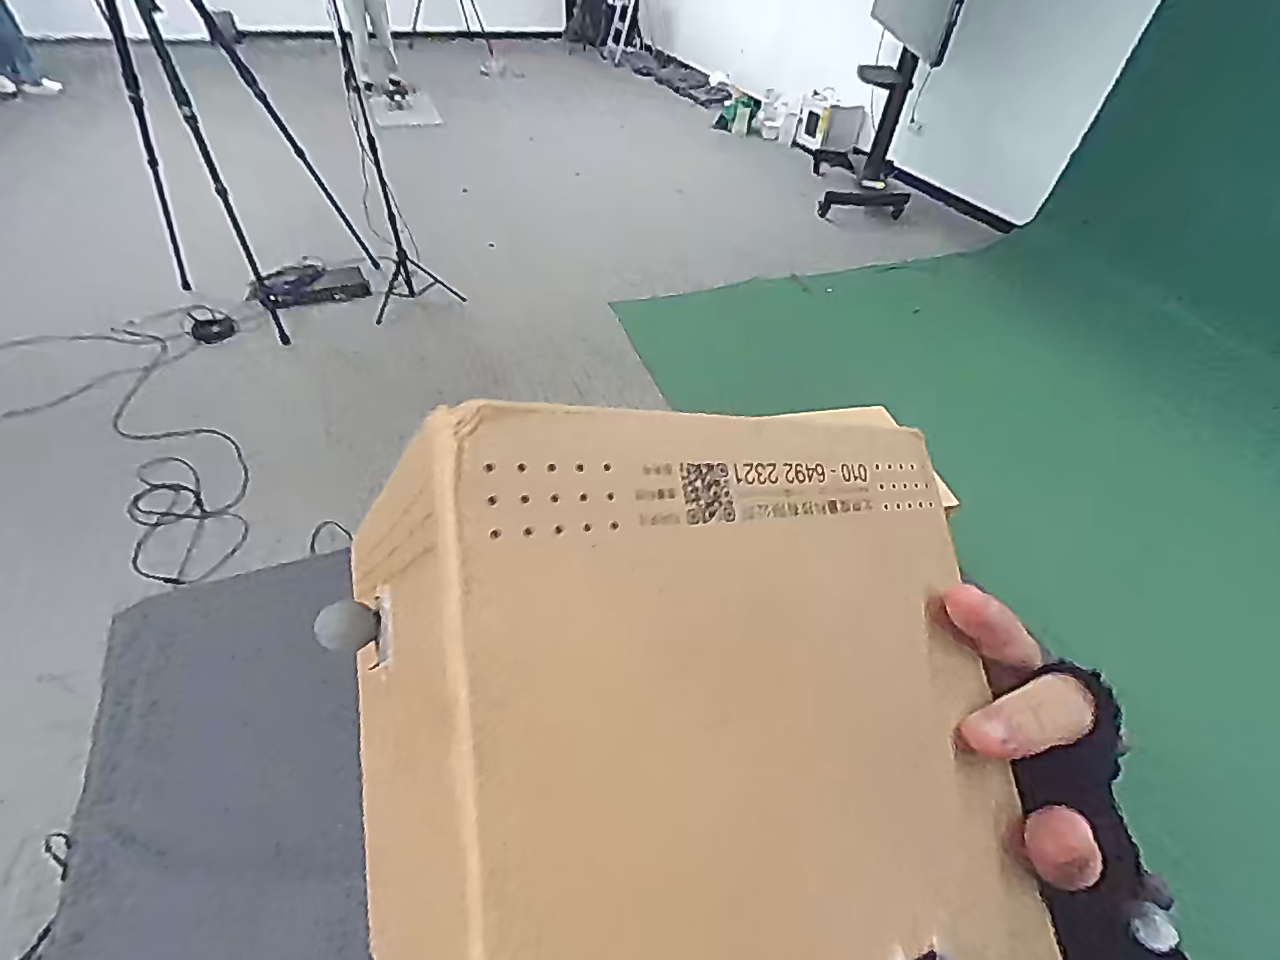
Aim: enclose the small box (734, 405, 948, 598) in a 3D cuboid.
[{"bbox_3d":[0.226,0.029,0.671,0.179,0.176,0.168,-6,49,-11],"label":"small box"}]
